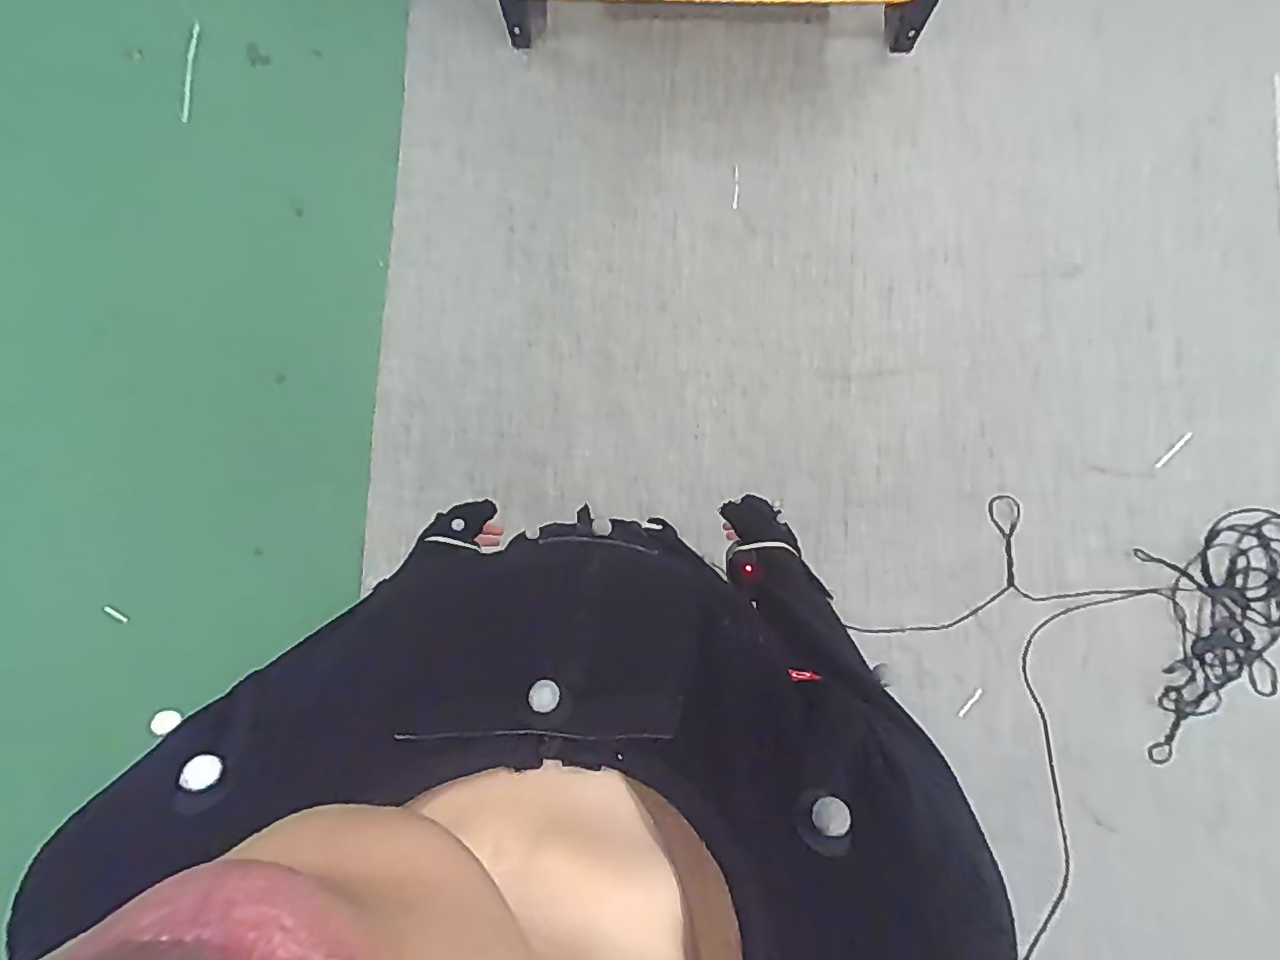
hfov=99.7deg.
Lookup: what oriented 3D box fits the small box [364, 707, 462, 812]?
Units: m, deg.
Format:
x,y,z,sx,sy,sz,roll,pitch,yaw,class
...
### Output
x,y,z,sx,sy,sz,roll,pitch,yaw,class
-0.567,0.701,1.371,0.168,0.176,0.179,6,84,2,small box
